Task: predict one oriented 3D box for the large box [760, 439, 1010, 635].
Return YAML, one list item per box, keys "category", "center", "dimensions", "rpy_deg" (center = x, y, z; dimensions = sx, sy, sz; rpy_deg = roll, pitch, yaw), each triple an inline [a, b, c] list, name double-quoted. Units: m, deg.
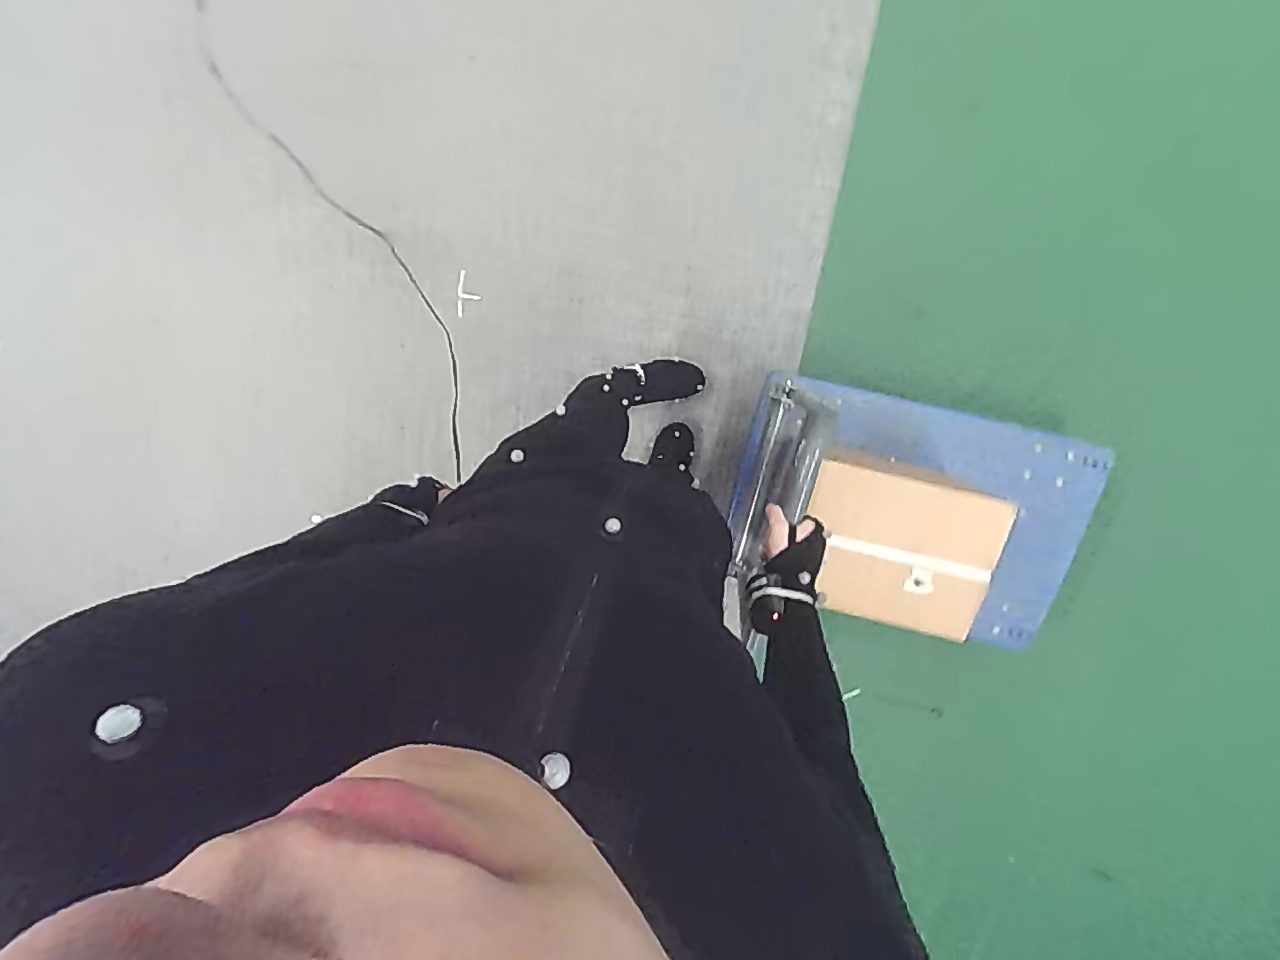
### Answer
- category: "large box"
  center: [0.532, 0.111, 1.271]
  dimensions: [0.408, 0.320, 0.320]
  rpy_deg: [14, 105, 1]
